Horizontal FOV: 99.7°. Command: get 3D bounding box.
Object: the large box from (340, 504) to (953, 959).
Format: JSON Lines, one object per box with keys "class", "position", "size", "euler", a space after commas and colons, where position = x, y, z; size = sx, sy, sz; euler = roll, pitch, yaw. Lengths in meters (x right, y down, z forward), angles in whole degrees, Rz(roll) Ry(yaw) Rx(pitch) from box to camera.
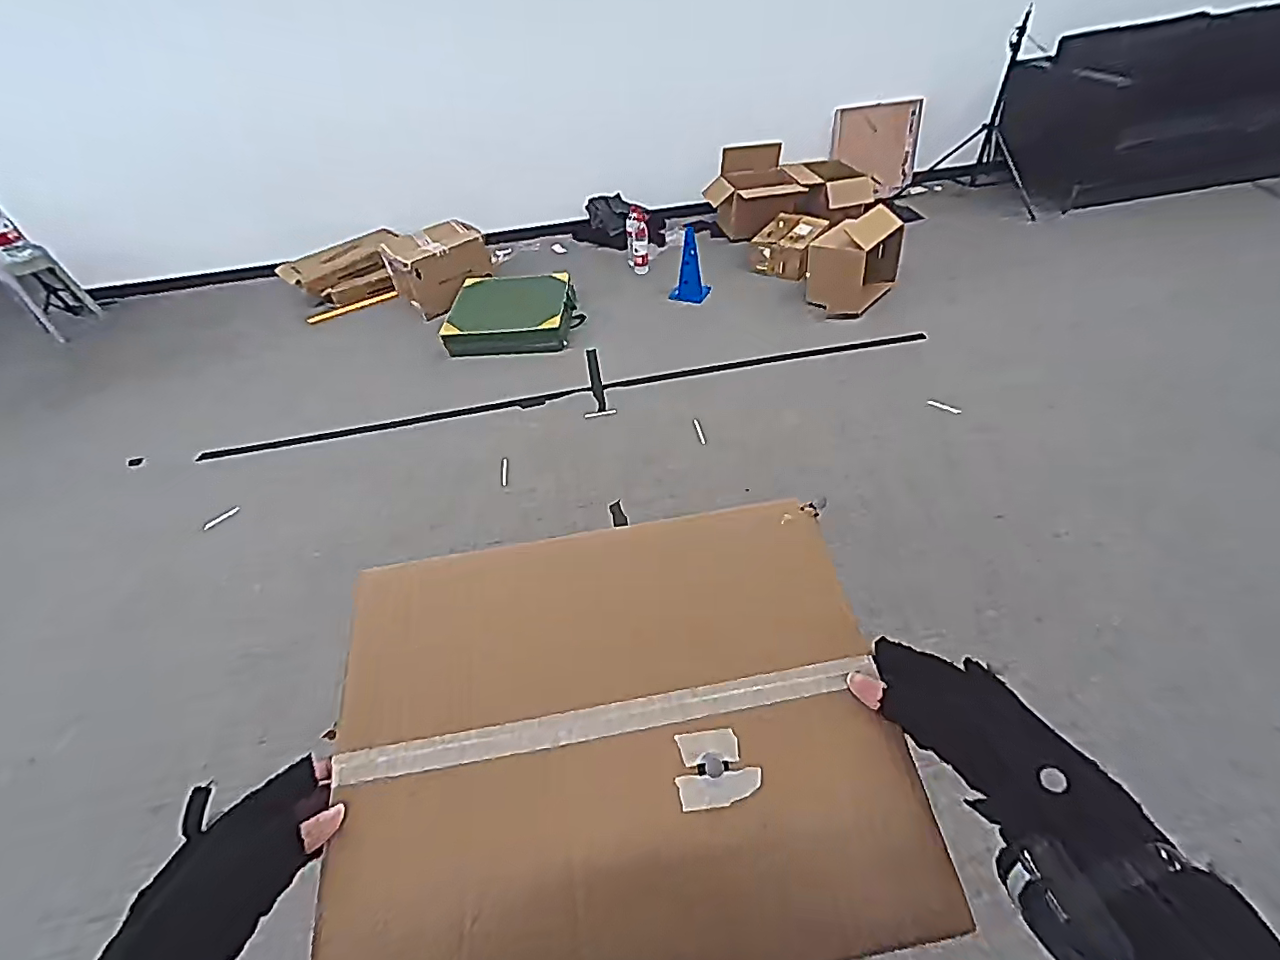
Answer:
{"class": "large box", "position": [-0.012, 0.262, 0.539], "size": [0.408, 0.320, 0.320], "euler": [-9, 58, -4]}
